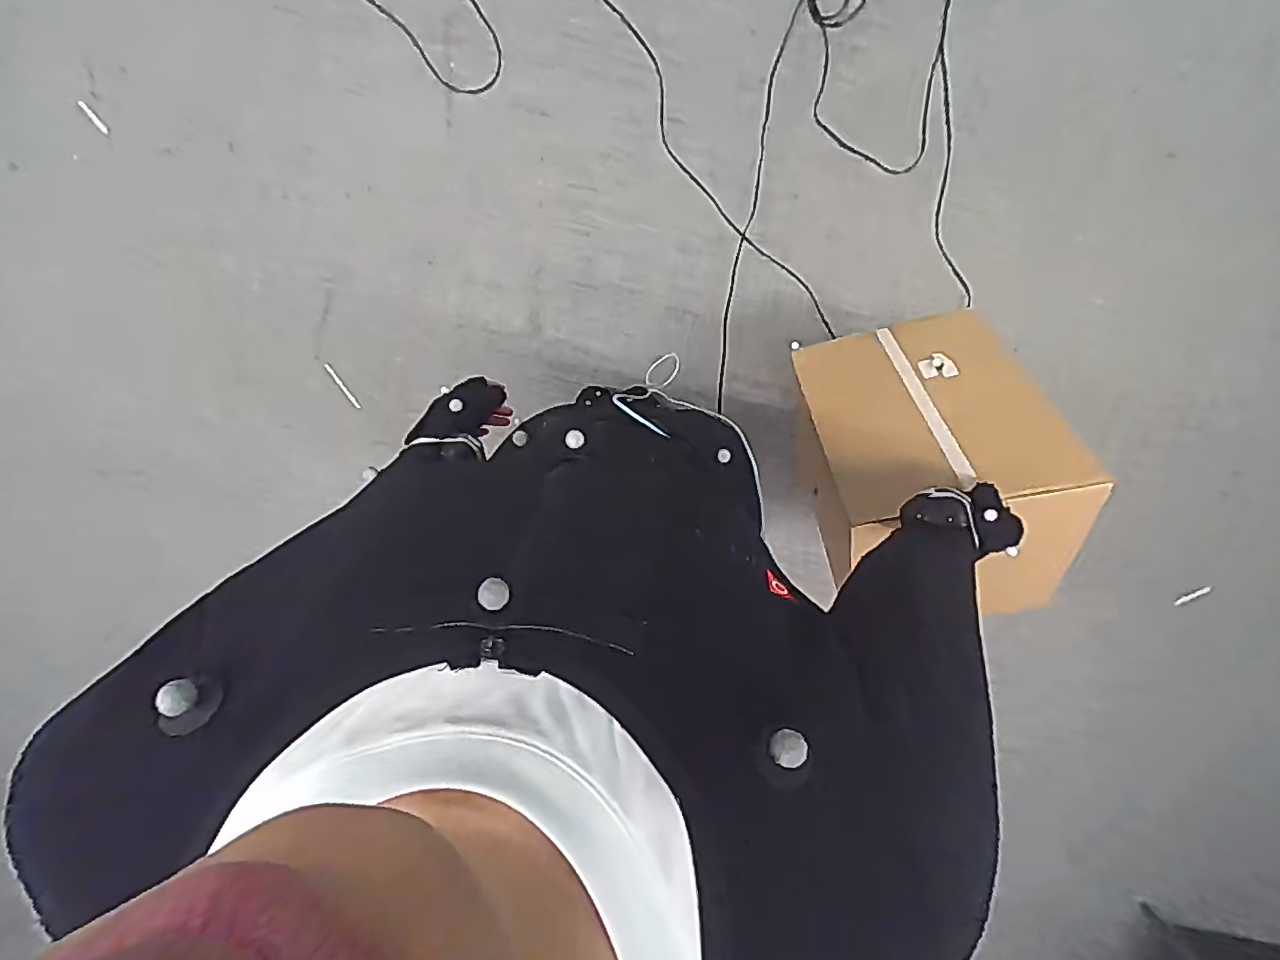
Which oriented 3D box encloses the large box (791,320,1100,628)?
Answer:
[{"bbox_3d":[0.467,-0.010,0.937,0.320,0.408,0.320,-10,135,11],"label":"large box"}]
